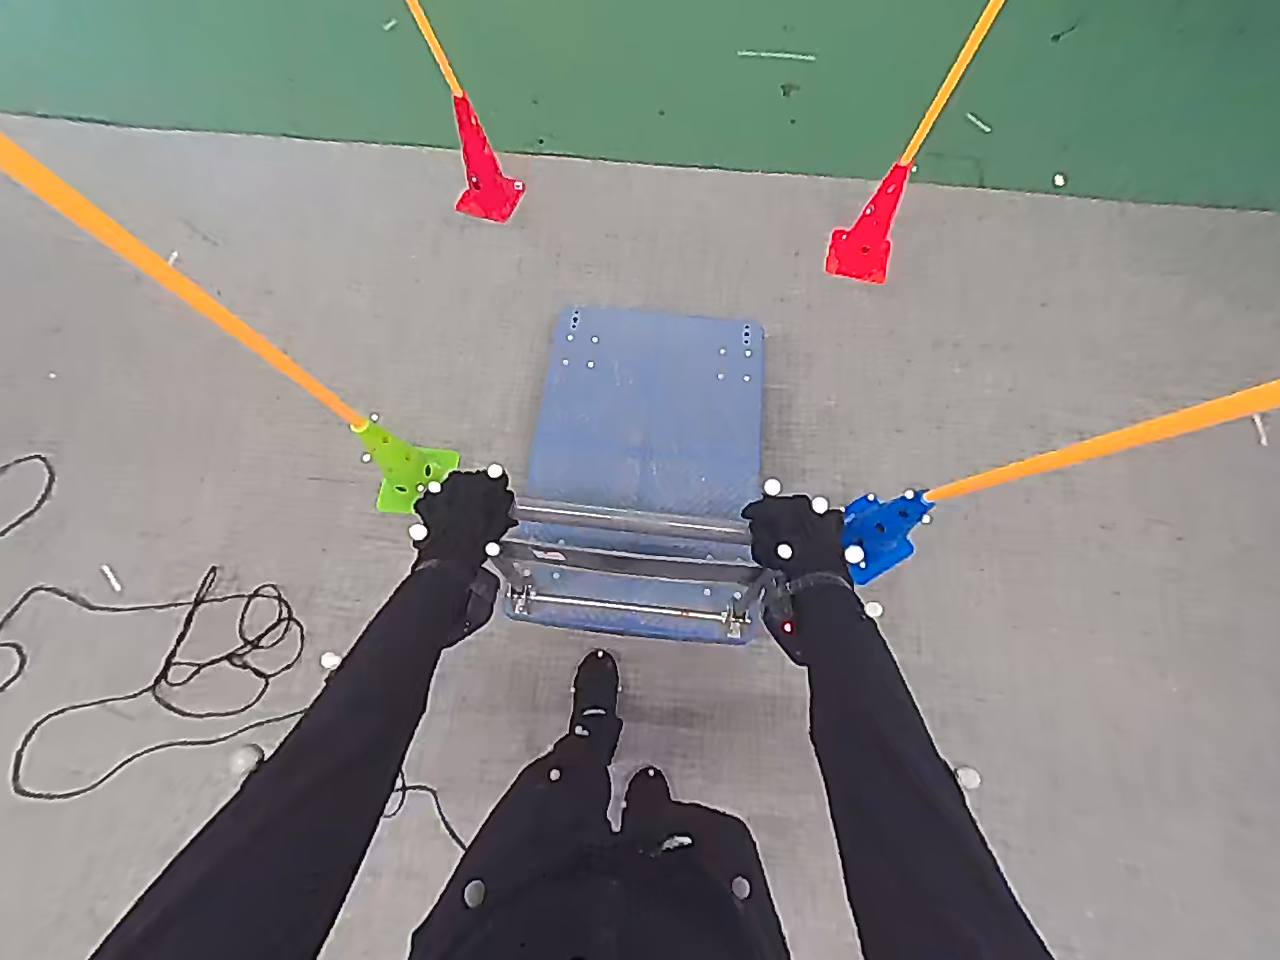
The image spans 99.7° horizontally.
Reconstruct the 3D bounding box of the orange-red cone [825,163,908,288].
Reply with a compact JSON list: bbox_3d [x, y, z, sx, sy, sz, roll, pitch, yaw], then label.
[{"bbox_3d":[0.725,-0.795,1.651,0.198,0.360,0.199,16,70,8],"label":"orange-red cone"}]
